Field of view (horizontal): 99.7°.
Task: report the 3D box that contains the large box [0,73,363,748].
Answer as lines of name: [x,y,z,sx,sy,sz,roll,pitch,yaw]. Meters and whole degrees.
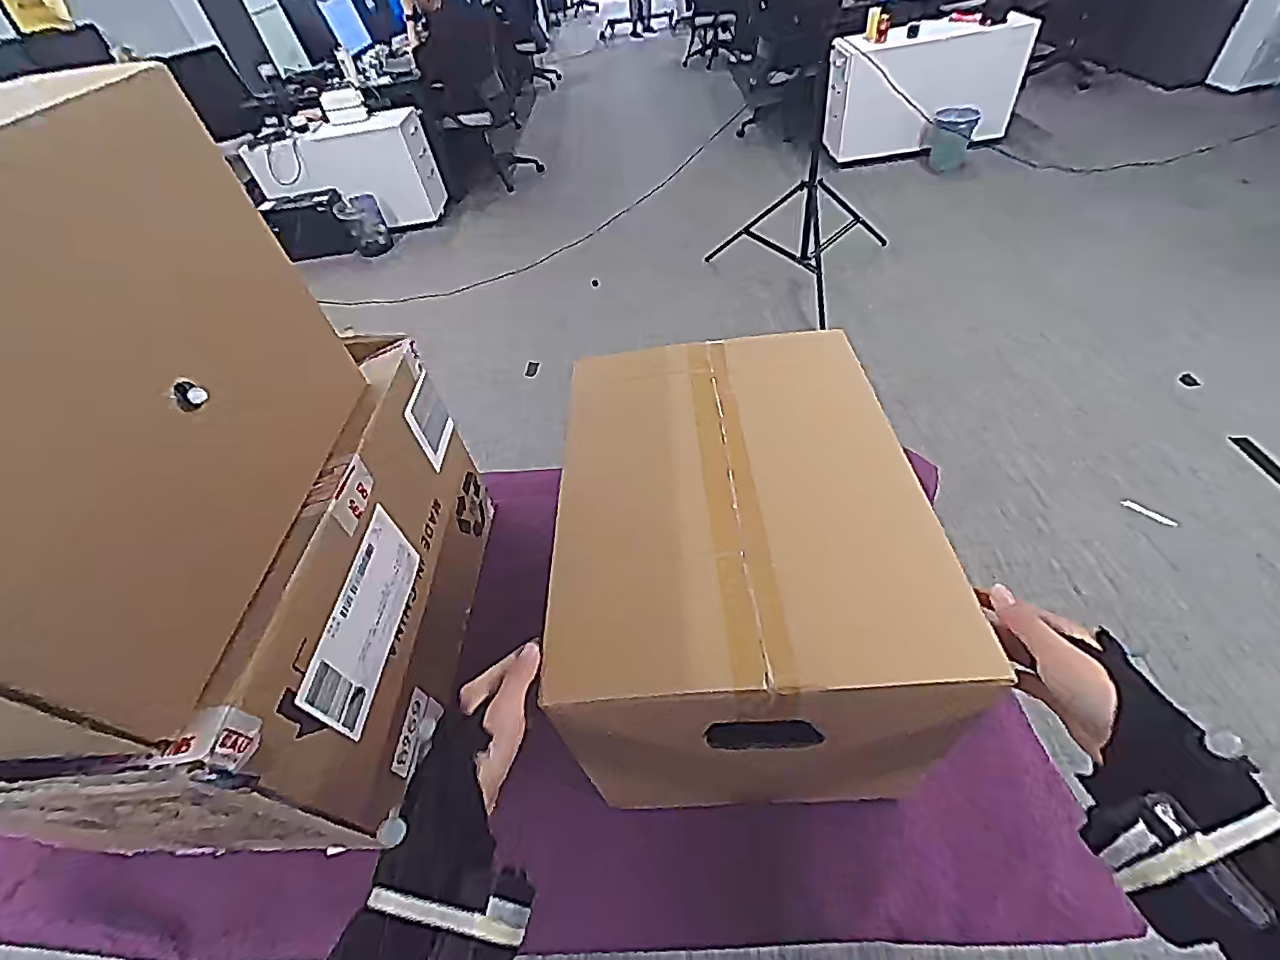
large box: [-0.480,-0.053,0.408,0.320,0.320,0.408,-7,48,6]
